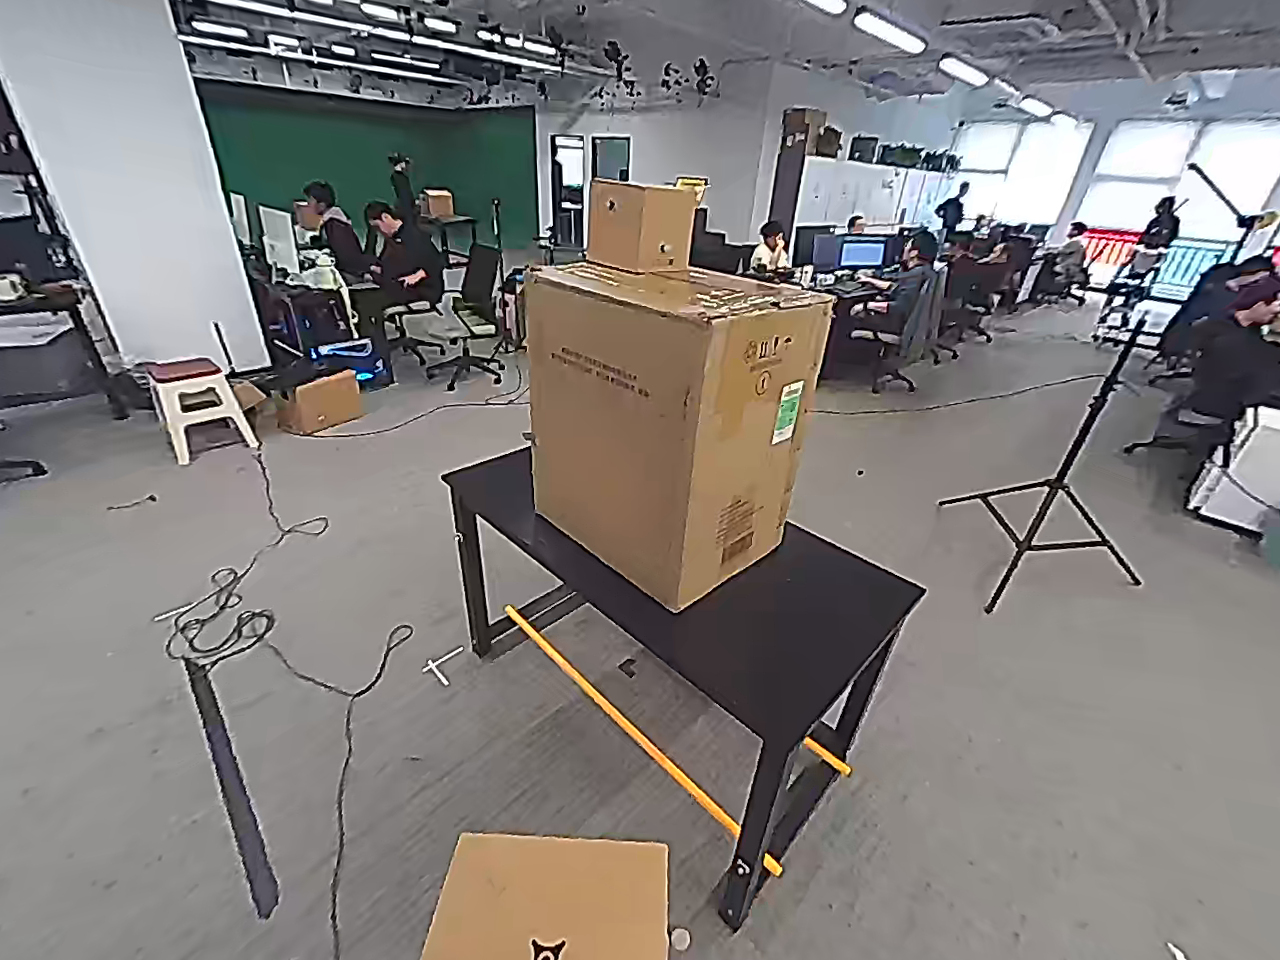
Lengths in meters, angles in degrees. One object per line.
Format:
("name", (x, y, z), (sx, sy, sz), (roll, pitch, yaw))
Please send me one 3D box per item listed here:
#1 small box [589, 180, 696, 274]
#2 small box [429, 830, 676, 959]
("small box", (-0.002, -0.565, 1.212), (0.168, 0.176, 0.179), (-22, 40, -39))
("small box", (-0.060, 0.392, 0.388), (0.168, 0.176, 0.179), (1, 28, 2))
